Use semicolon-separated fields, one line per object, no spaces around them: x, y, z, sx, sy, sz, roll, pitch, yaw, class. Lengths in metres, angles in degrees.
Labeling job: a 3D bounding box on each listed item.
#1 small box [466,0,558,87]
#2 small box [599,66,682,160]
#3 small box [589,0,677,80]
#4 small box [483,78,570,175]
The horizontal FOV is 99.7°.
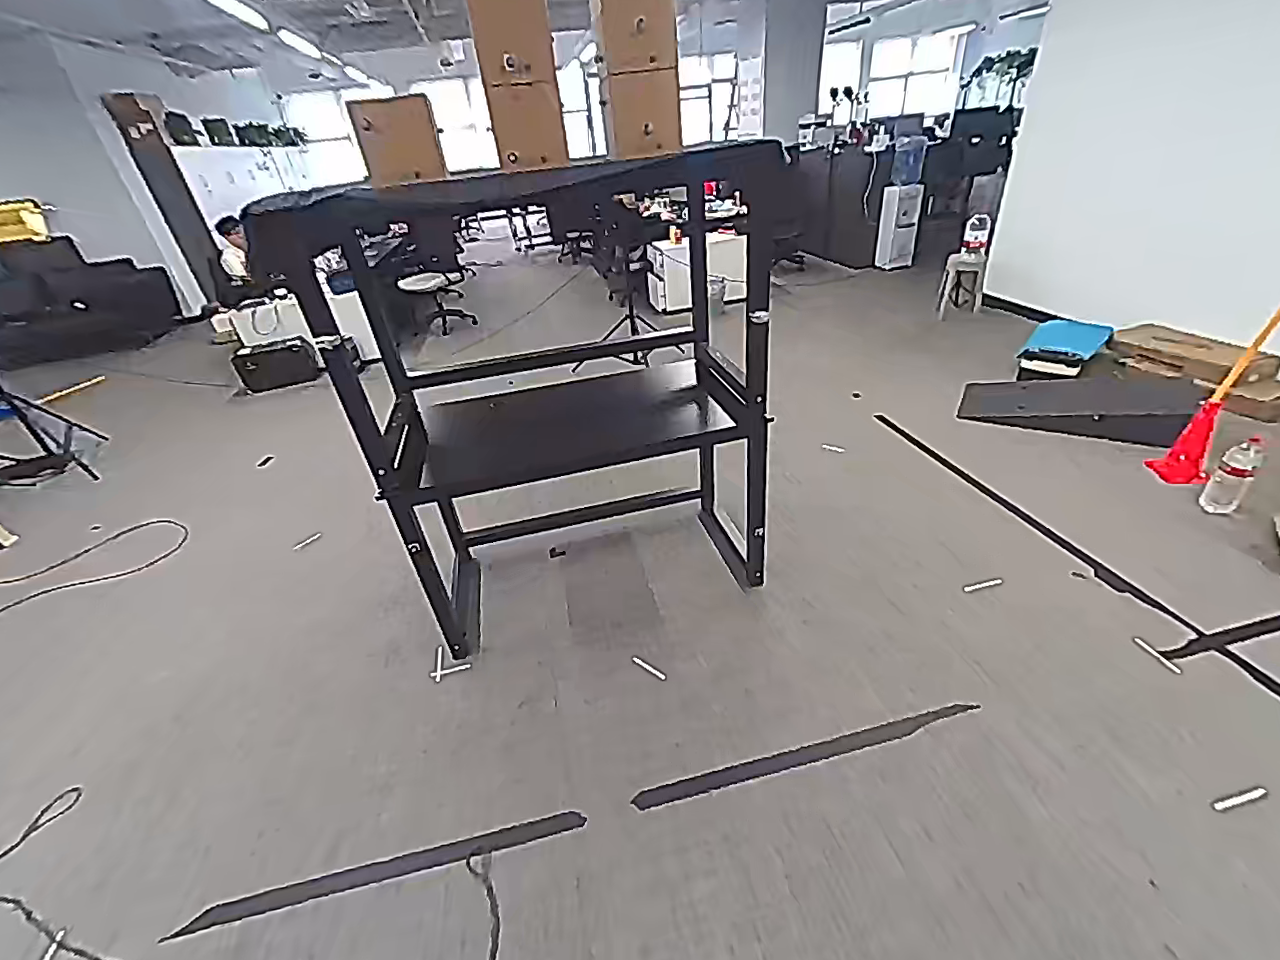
-0.283;-0.969;1.198;0.168;0.176;0.179;-12;32;-7;small box
0.000;-0.887;1.319;0.168;0.176;0.179;-12;32;-6;small box
-0.017;-1.026;1.232;0.168;0.176;0.179;-11;33;-6;small box
-0.267;-0.830;1.281;0.168;0.176;0.179;-12;31;-8;small box
